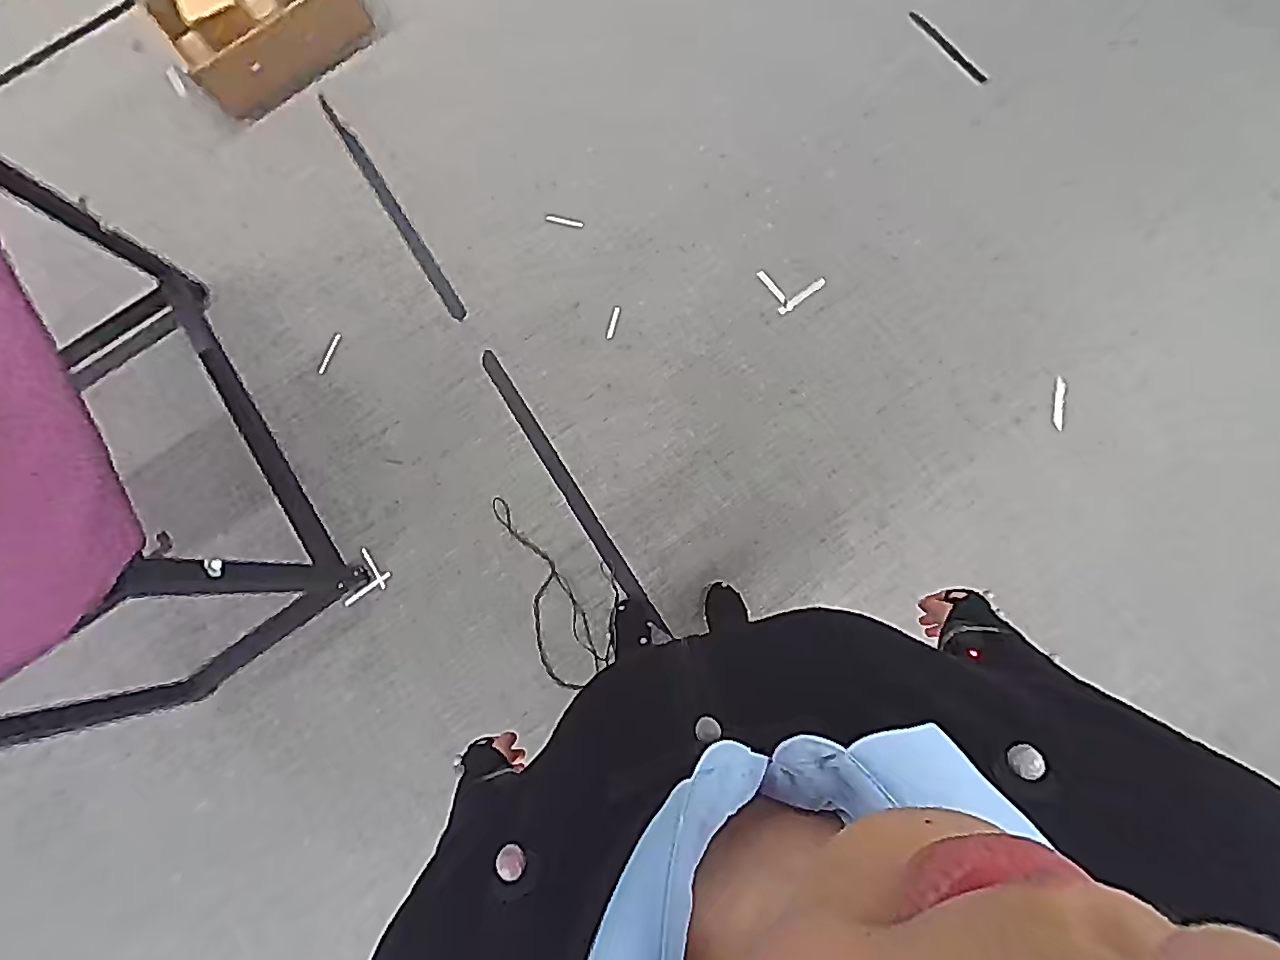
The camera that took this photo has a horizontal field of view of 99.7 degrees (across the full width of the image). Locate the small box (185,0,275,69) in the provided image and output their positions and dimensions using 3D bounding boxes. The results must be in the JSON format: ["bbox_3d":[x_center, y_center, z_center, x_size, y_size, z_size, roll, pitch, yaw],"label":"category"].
[{"bbox_3d":[-1.387,-1.554,1.827,0.168,0.176,0.179,-28,78,-3],"label":"small box"}]
